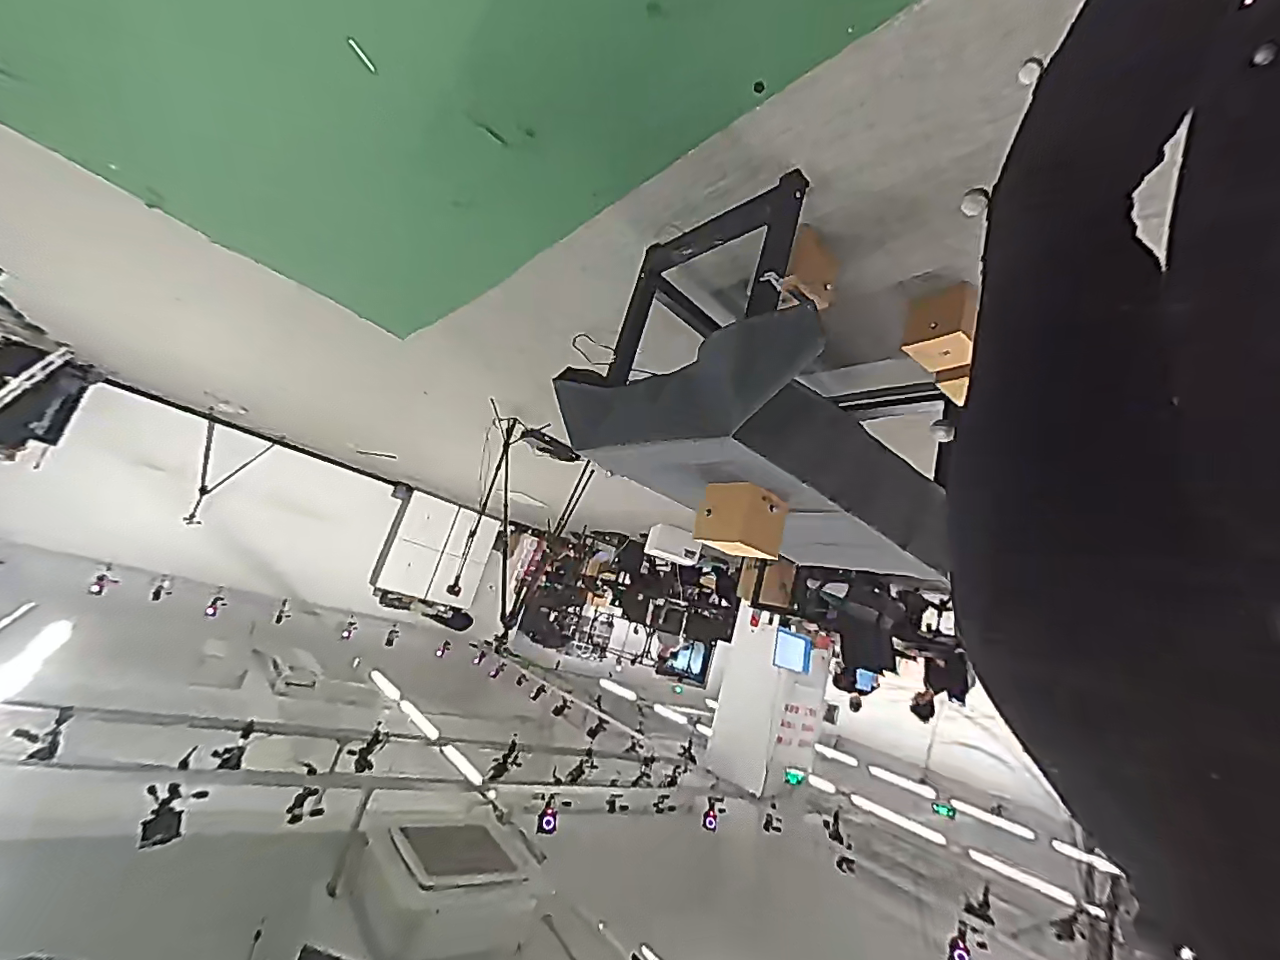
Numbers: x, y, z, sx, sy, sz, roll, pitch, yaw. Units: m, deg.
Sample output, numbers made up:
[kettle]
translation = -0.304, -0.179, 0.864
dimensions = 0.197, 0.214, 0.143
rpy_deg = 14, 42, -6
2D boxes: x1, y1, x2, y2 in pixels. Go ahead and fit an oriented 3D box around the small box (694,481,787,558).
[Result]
[small box]
translation = 0.282, 0.107, 1.500
dimensions = 0.168, 0.176, 0.179
rpy_deg = 24, 164, -34
